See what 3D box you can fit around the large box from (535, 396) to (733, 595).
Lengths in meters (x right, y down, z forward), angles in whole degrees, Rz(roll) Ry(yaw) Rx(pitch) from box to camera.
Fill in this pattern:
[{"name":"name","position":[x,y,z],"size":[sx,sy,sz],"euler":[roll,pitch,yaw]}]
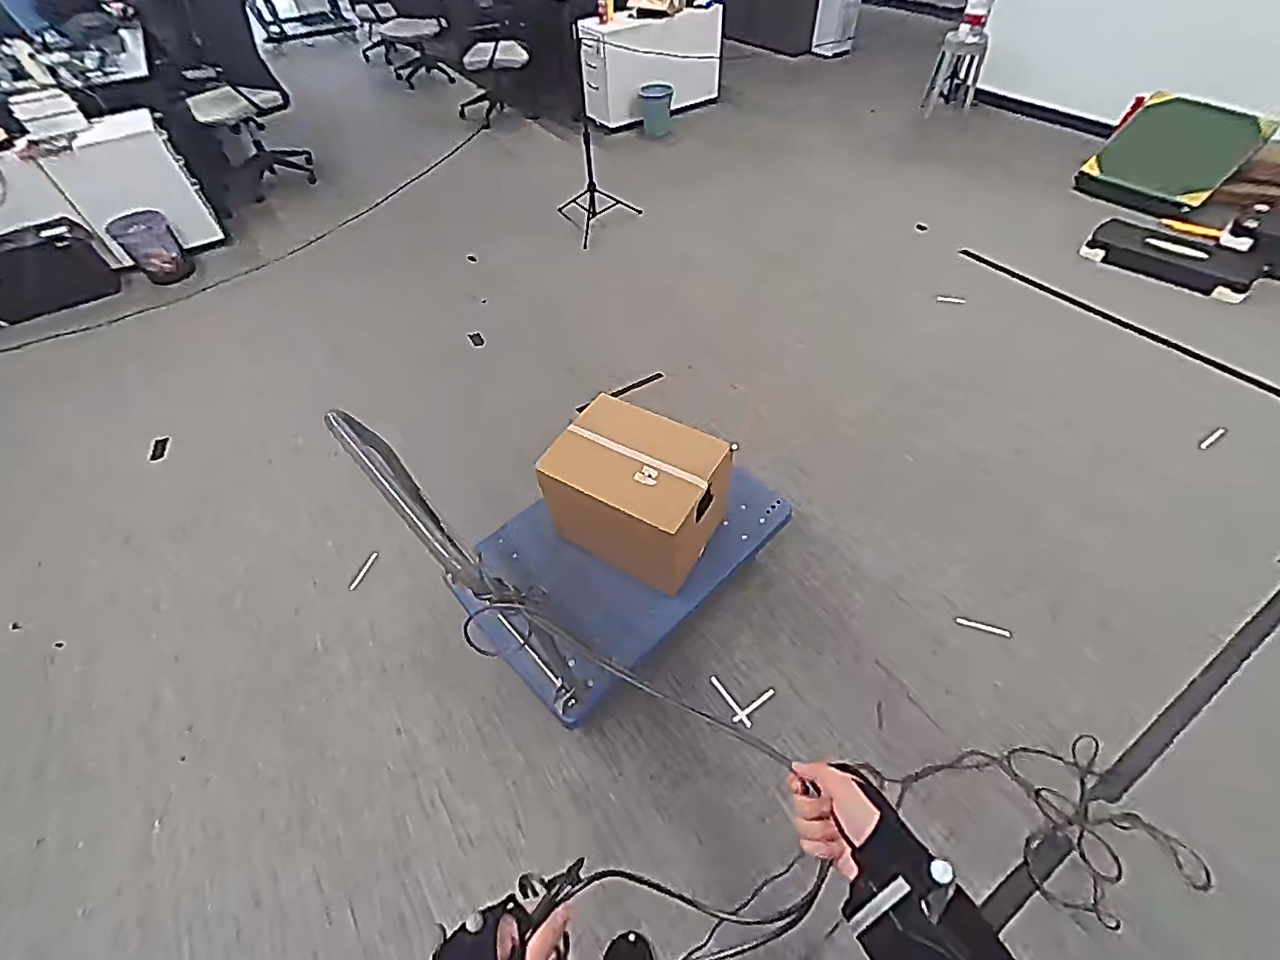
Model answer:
[{"name":"large box","position":[-0.012,0.038,1.452],"size":[0.408,0.320,0.320],"euler":[25,58,20]}]
